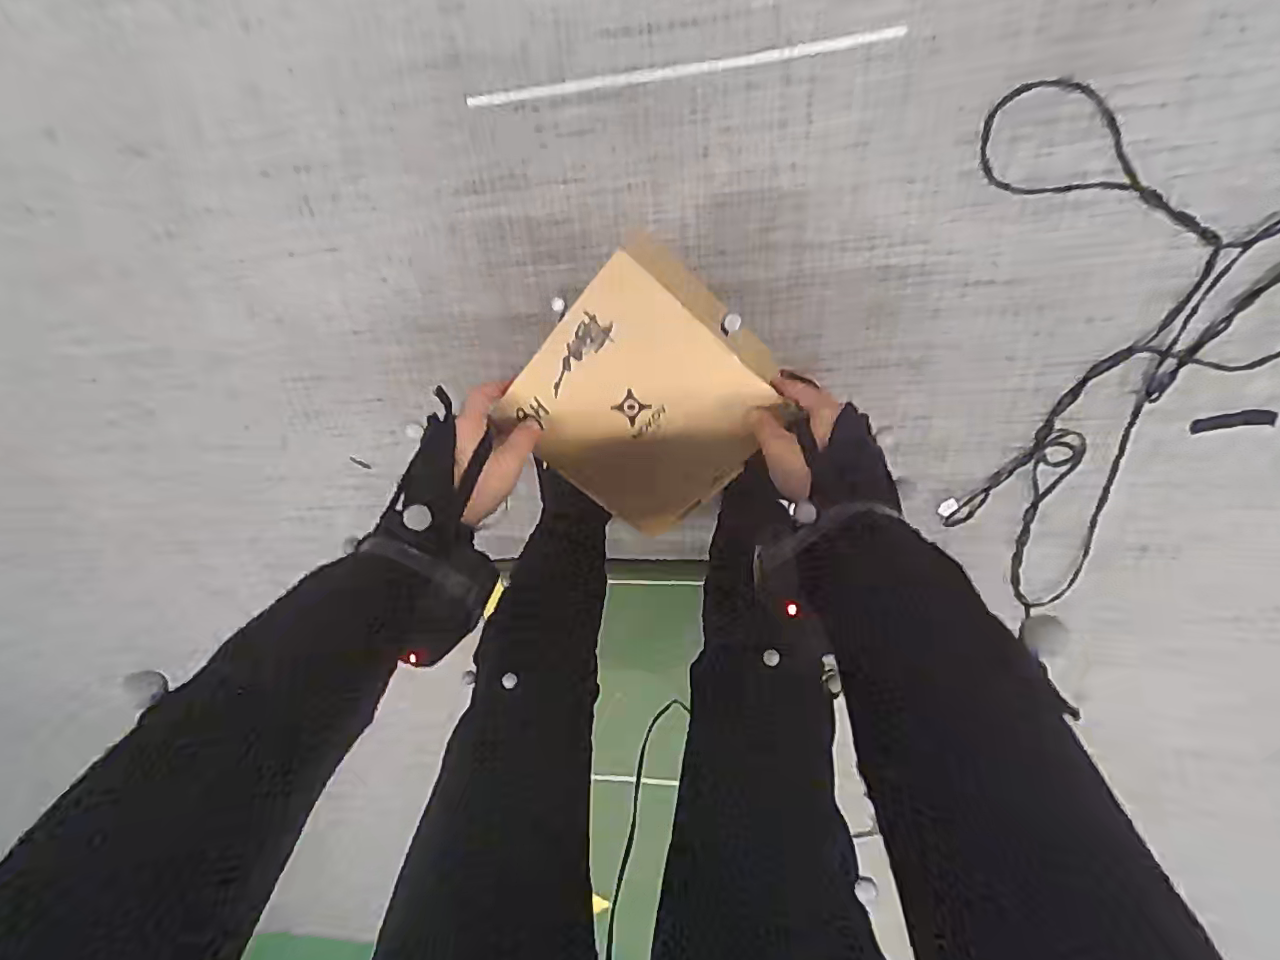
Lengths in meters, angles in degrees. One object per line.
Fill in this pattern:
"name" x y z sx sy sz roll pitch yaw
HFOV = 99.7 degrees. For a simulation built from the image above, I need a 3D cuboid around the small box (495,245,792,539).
"small box" 0.007 -0.088 0.488 0.179 0.176 0.168 39 114 -15
